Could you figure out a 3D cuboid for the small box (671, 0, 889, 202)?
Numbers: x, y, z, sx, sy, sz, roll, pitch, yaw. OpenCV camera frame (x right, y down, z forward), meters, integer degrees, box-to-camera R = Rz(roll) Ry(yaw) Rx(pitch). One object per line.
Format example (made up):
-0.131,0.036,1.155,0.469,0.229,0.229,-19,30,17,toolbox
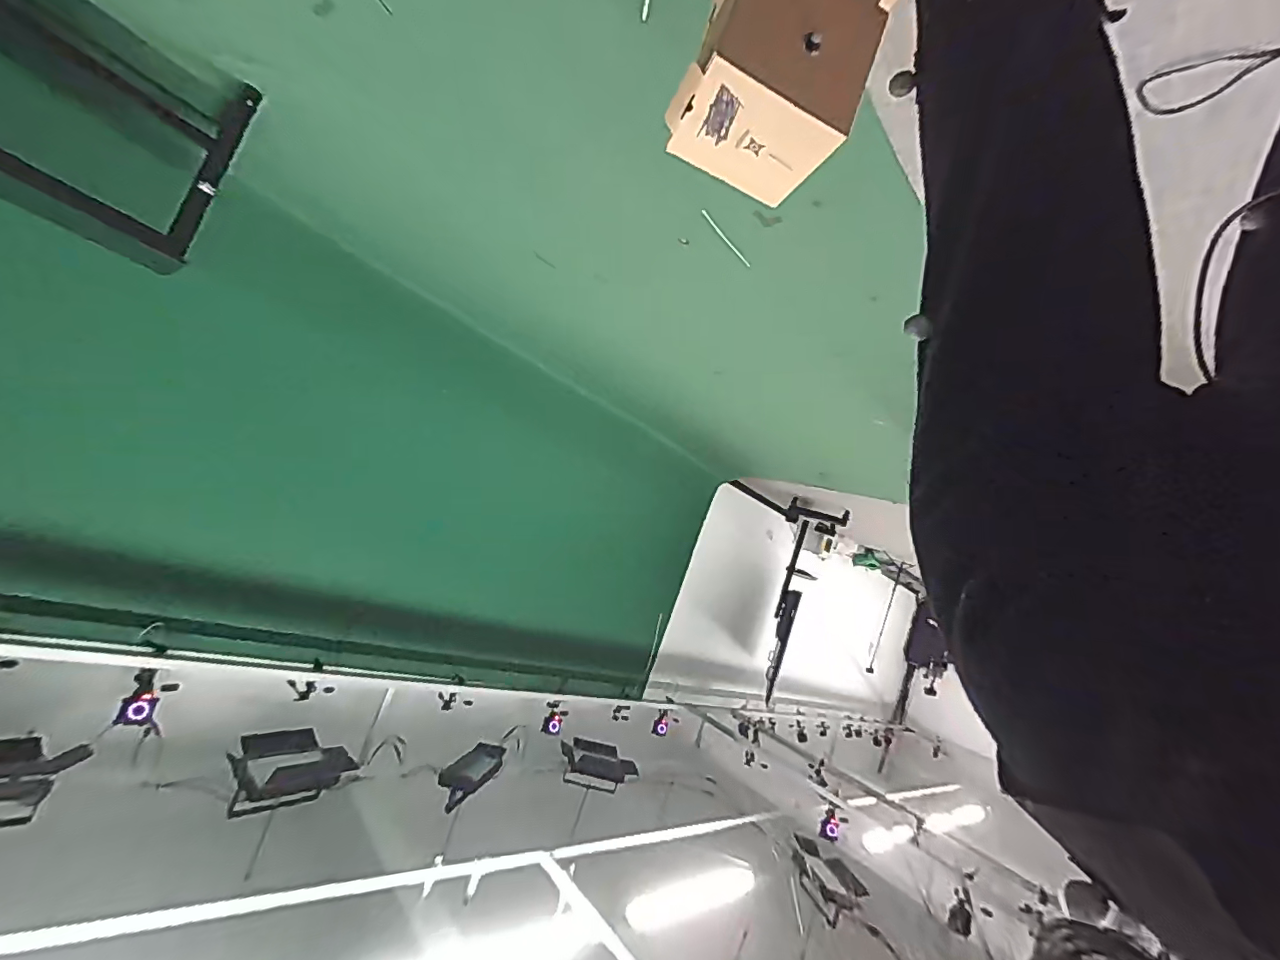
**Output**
0.165,-0.494,0.664,0.179,0.176,0.168,20,175,-15,small box
